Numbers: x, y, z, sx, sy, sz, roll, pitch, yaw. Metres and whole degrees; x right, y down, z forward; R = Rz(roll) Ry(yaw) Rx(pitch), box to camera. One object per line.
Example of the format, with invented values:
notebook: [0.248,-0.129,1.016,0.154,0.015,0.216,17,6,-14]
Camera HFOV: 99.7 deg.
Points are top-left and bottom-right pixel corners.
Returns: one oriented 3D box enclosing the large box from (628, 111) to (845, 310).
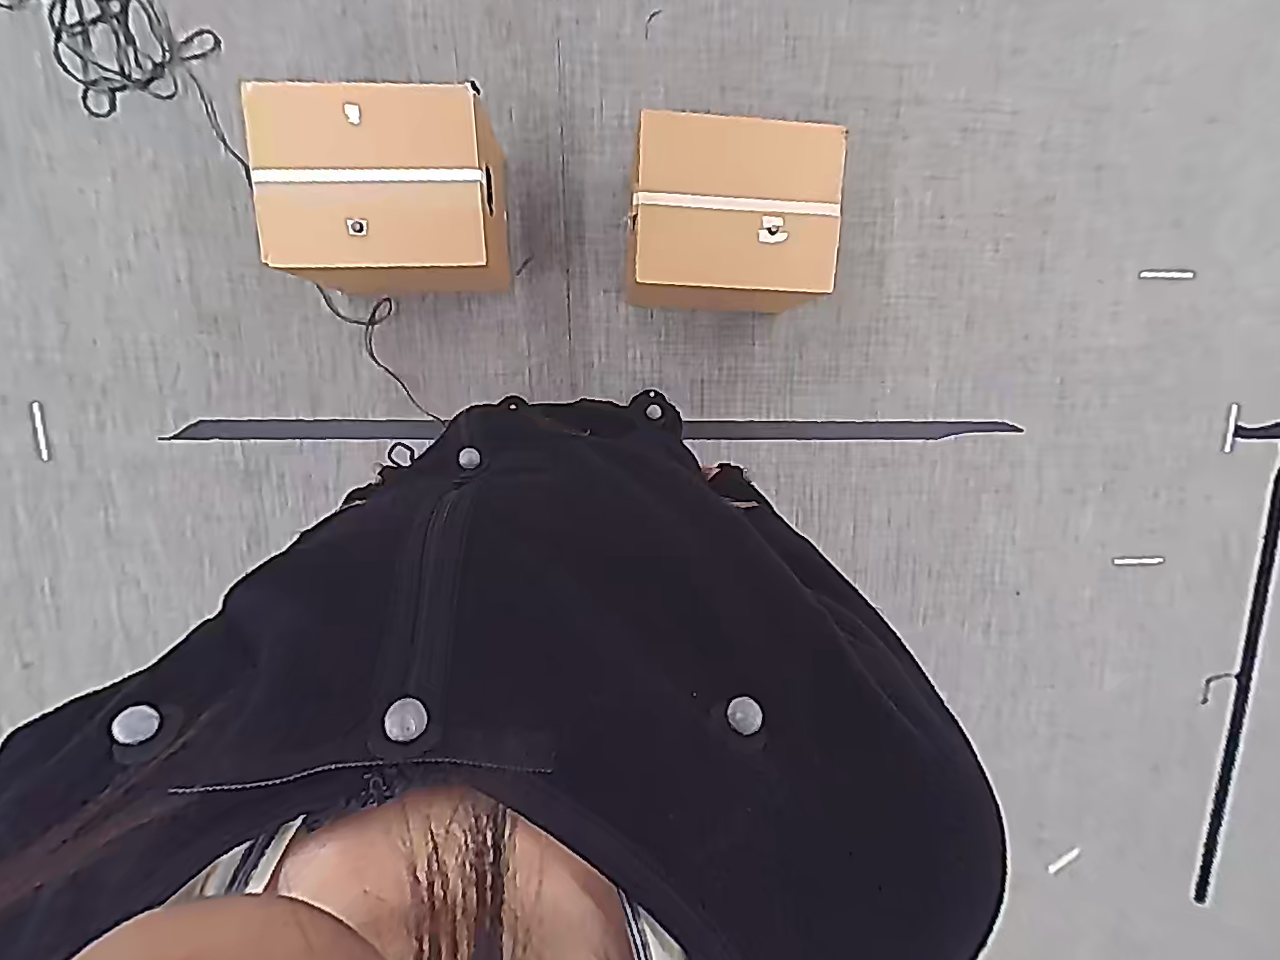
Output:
large box: [0.184,-0.566,1.206,0.408,0.320,0.320,2,100,-6]
